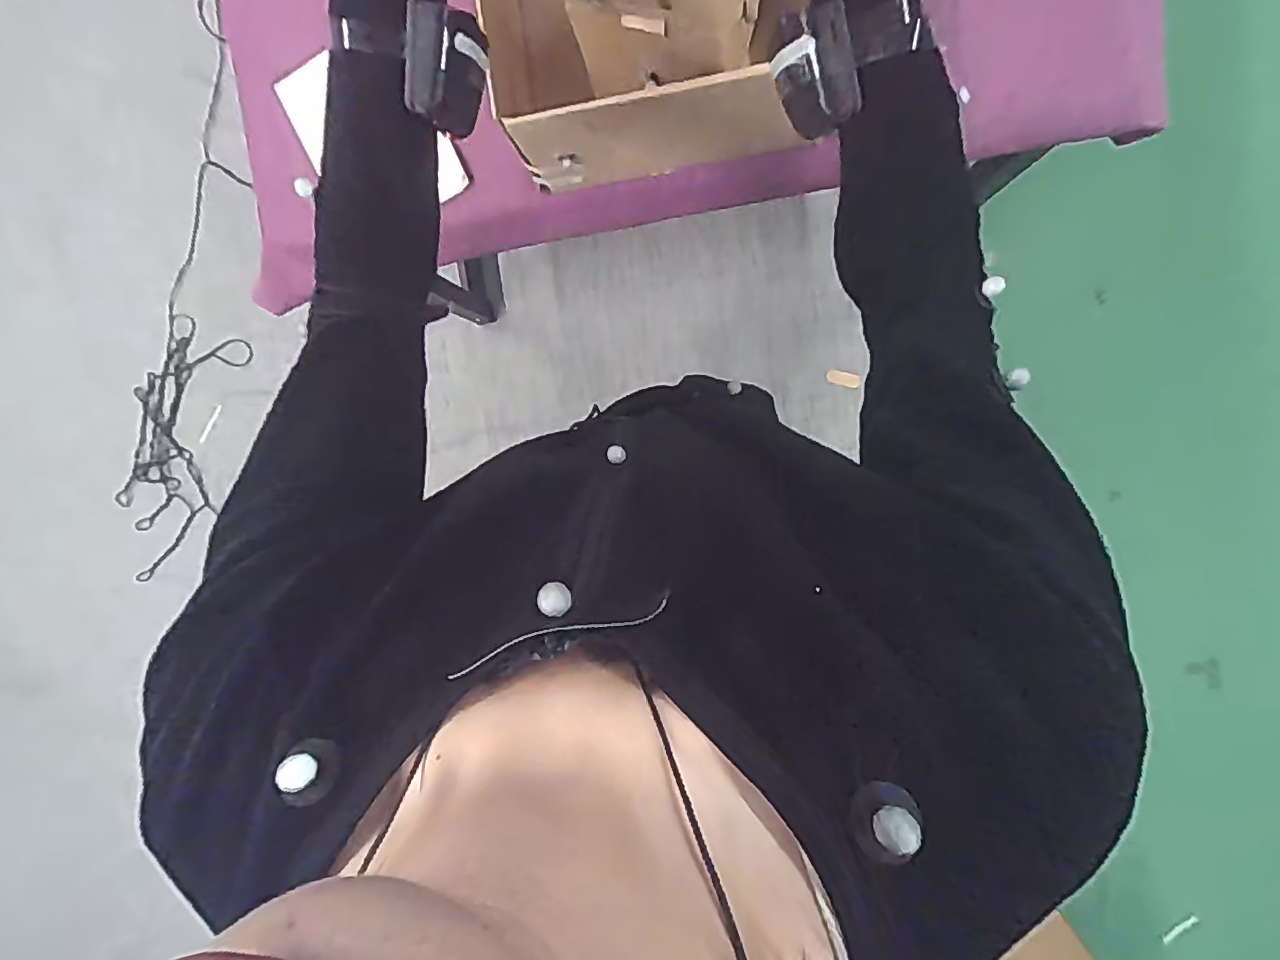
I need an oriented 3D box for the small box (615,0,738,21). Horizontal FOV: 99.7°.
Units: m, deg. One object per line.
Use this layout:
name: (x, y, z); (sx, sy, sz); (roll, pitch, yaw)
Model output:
small box: (0.018, -0.516, 0.424); (0.168, 0.176, 0.179); (15, 96, 7)
